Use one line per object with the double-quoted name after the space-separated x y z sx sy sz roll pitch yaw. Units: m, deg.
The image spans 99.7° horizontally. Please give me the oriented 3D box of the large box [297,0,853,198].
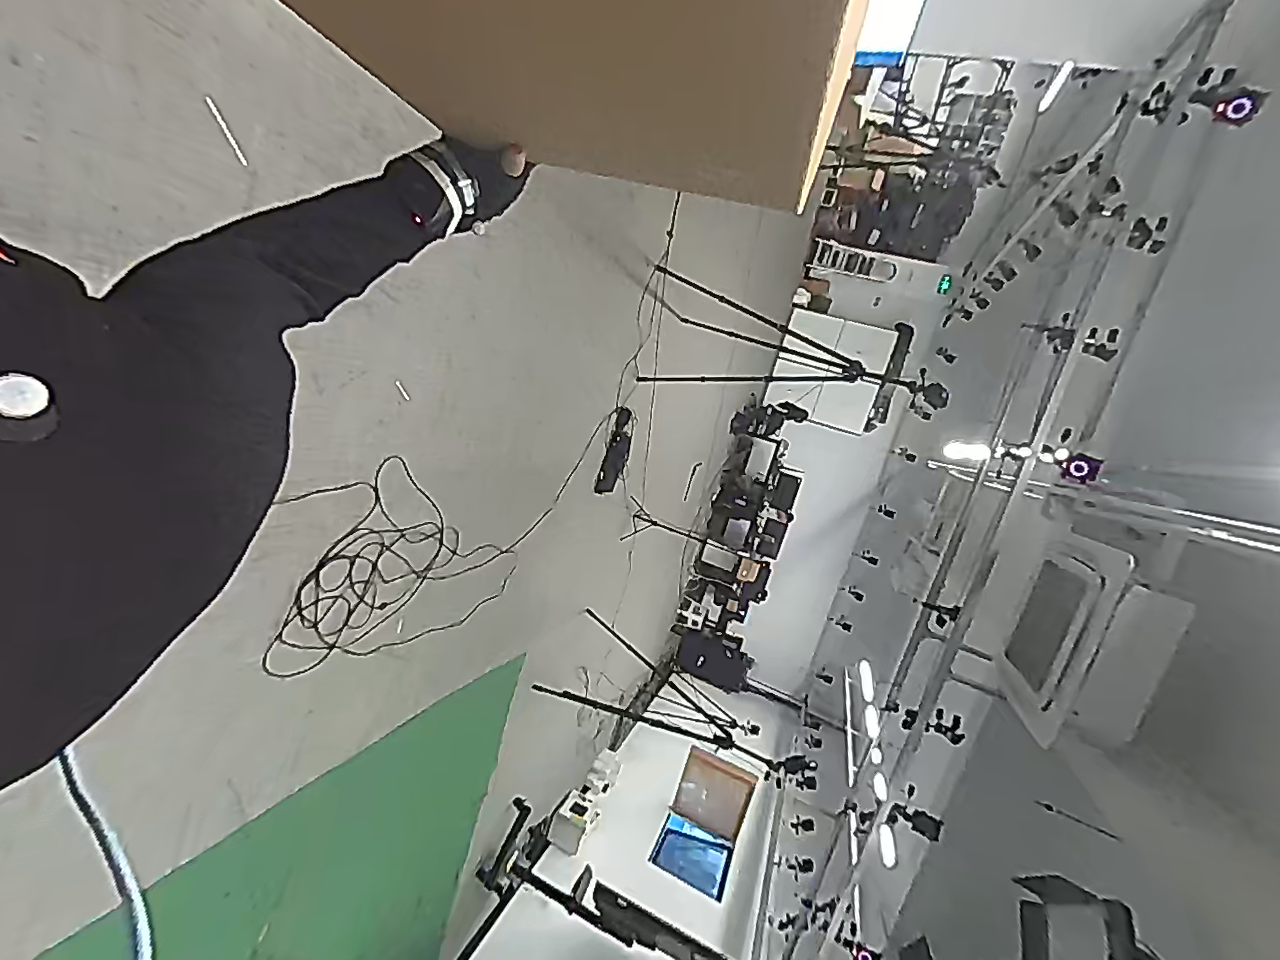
-0.022 -0.379 0.256 0.408 0.320 0.320 -46 151 -75 "large box"
